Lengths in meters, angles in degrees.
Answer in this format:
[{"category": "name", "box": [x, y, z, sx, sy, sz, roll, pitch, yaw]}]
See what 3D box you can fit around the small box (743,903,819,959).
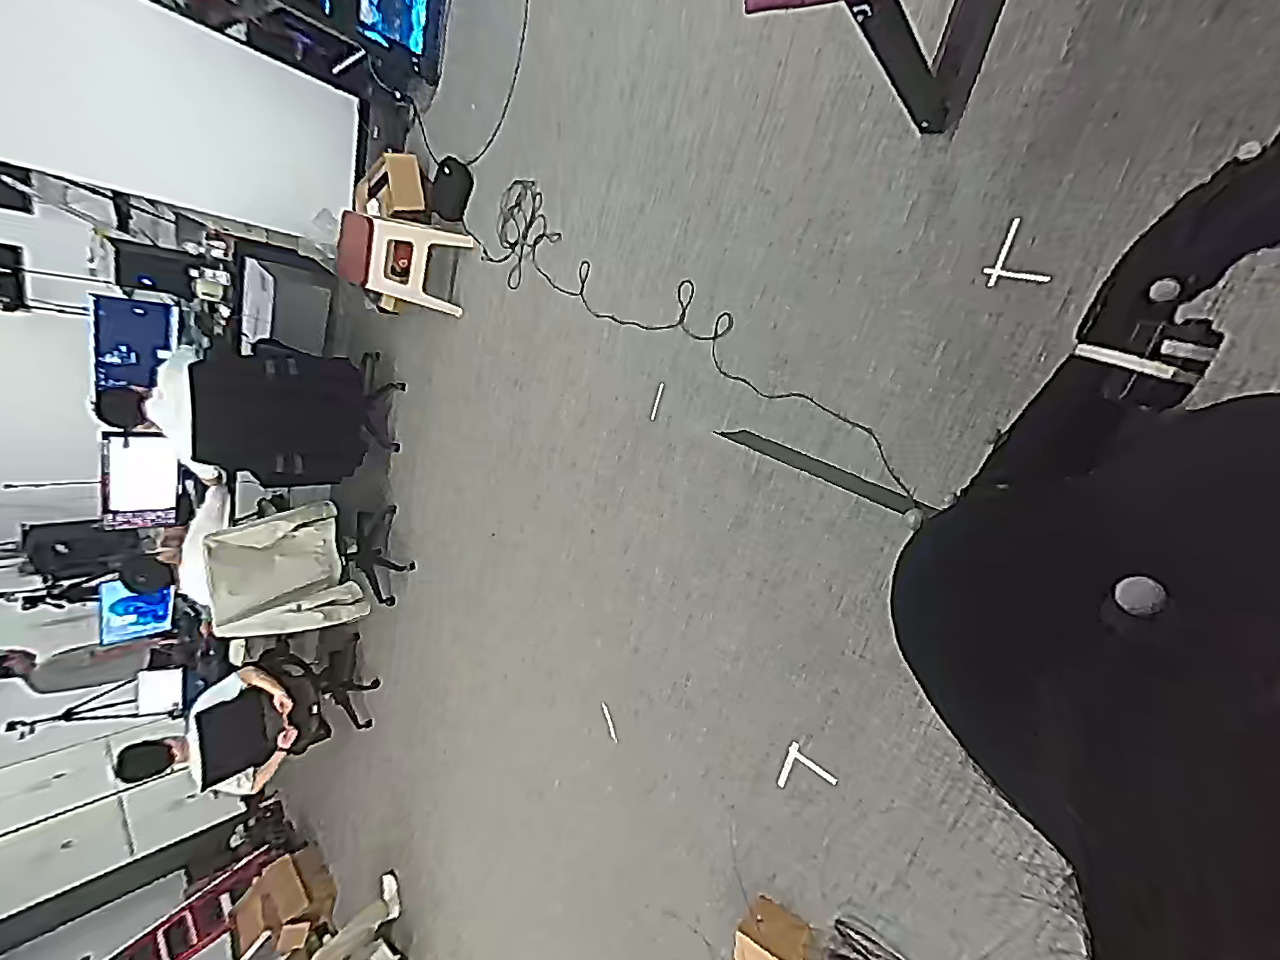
[{"category": "small box", "box": [0.438, 1.480, 1.689, 0.179, 0.176, 0.168, 5, 98, 40]}]
